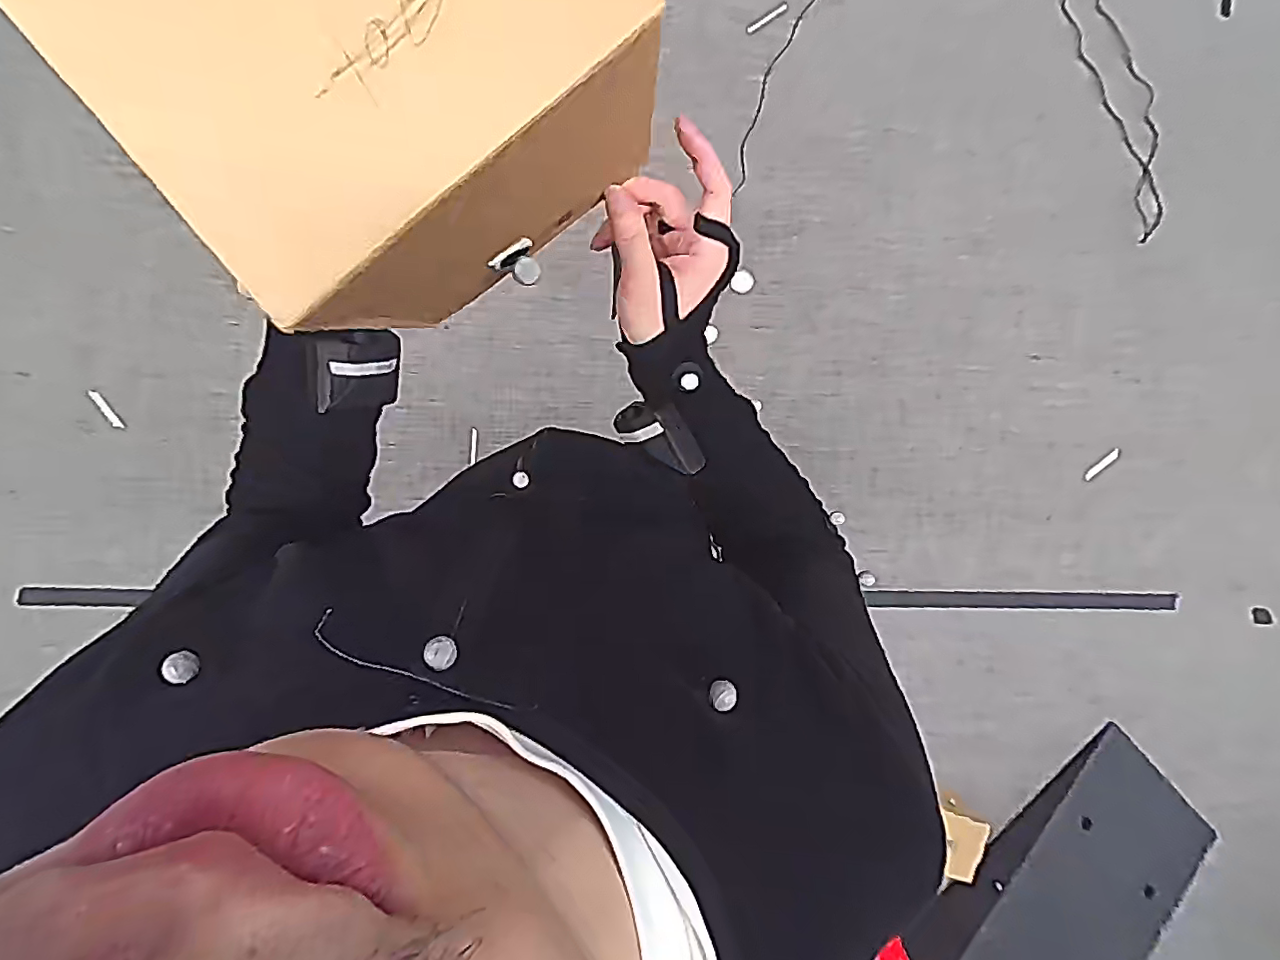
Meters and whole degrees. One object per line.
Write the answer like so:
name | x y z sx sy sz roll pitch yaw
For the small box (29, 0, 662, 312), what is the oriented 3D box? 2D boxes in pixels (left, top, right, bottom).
small box | -0.108 -0.193 0.246 0.168 0.176 0.179 -36 104 10
